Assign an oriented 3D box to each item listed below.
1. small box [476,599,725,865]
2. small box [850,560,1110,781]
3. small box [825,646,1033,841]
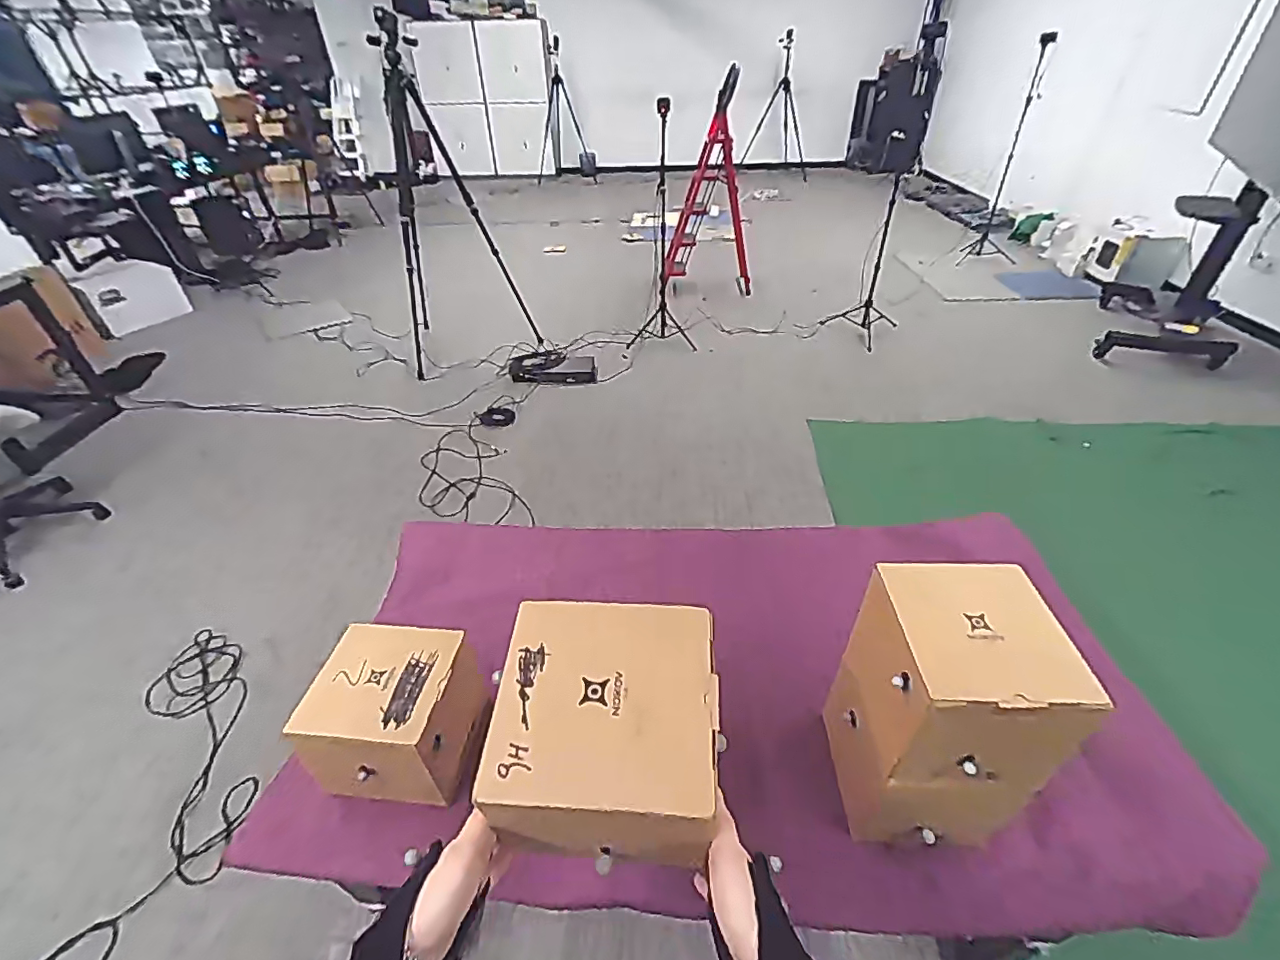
[{"bbox_3d":[-0.023,0.227,0.486,0.179,0.176,0.168,2,44,3],"label":"small box"},{"bbox_3d":[0.355,0.212,0.613,0.168,0.176,0.179,0,39,2],"label":"small box"},{"bbox_3d":[0.355,0.342,0.711,0.168,0.176,0.179,0,39,3],"label":"small box"}]
